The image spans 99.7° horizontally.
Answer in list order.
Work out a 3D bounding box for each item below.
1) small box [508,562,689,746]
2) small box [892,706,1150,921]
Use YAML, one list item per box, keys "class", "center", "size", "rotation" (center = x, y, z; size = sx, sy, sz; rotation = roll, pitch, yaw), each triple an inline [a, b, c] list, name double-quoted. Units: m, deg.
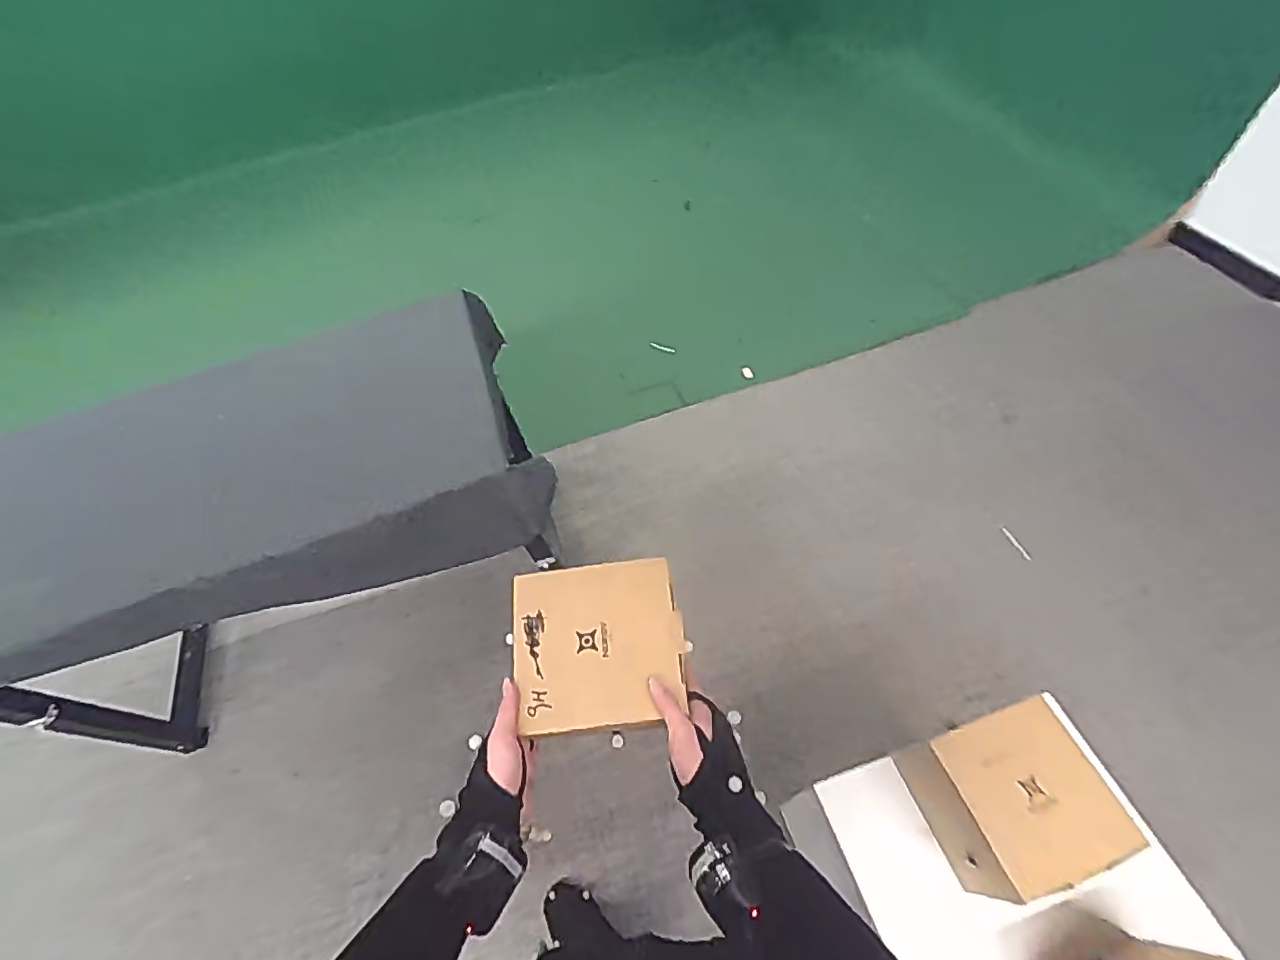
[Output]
- class: "small box"
  center: [-0.044, 0.205, 0.621]
  size: [0.179, 0.176, 0.168]
  rotation: [-6, 61, -1]
- class: "small box"
  center: [0.463, 0.421, 0.694]
  size: [0.168, 0.176, 0.179]
  rotation: [-18, 55, -8]
